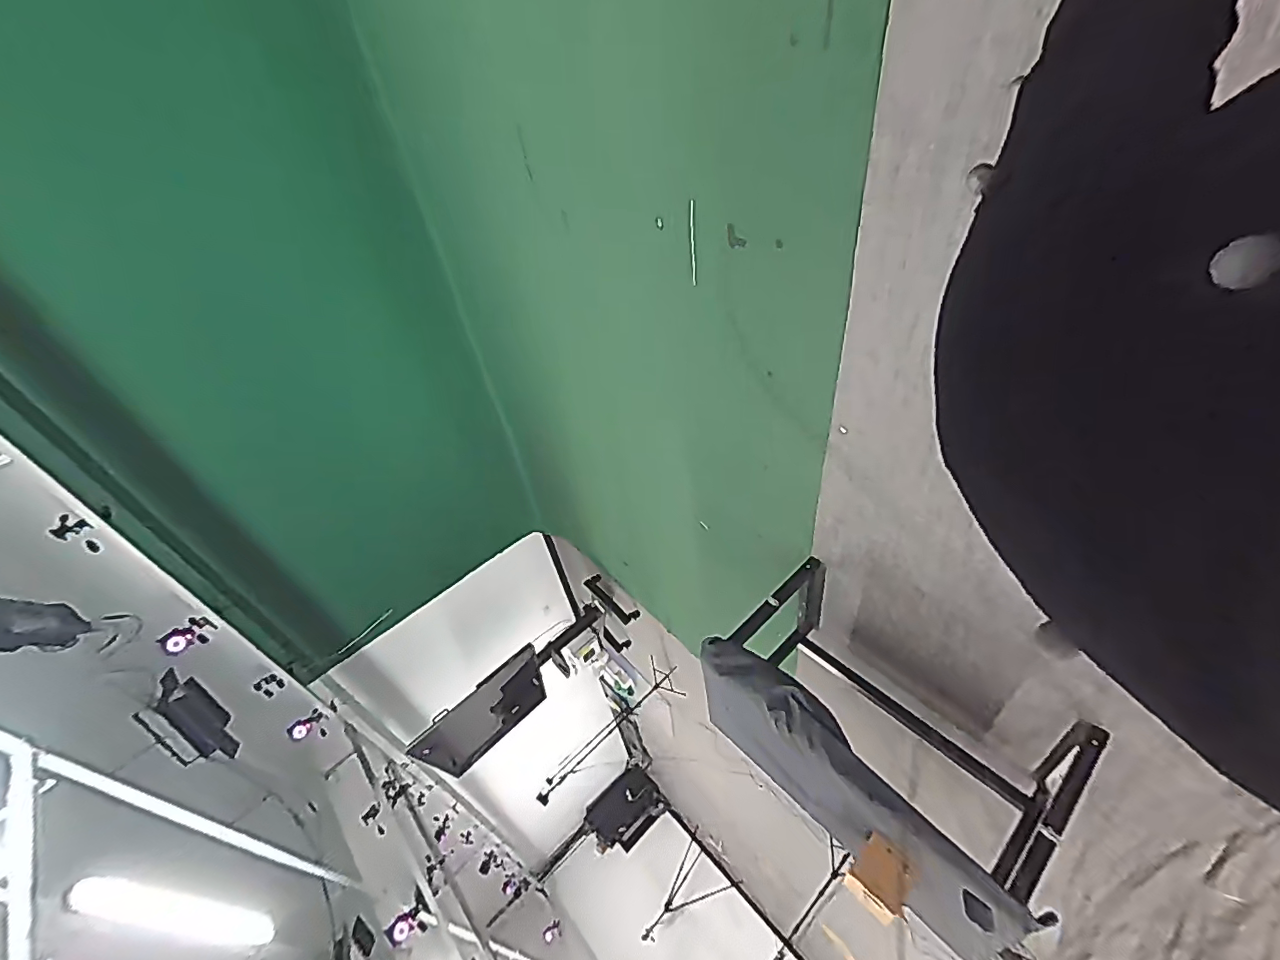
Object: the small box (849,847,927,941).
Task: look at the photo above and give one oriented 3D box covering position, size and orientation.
[{"bbox_3d":[0.821,1.362,1.788,0.168,0.176,0.179,32,147,39],"label":"small box"}]
